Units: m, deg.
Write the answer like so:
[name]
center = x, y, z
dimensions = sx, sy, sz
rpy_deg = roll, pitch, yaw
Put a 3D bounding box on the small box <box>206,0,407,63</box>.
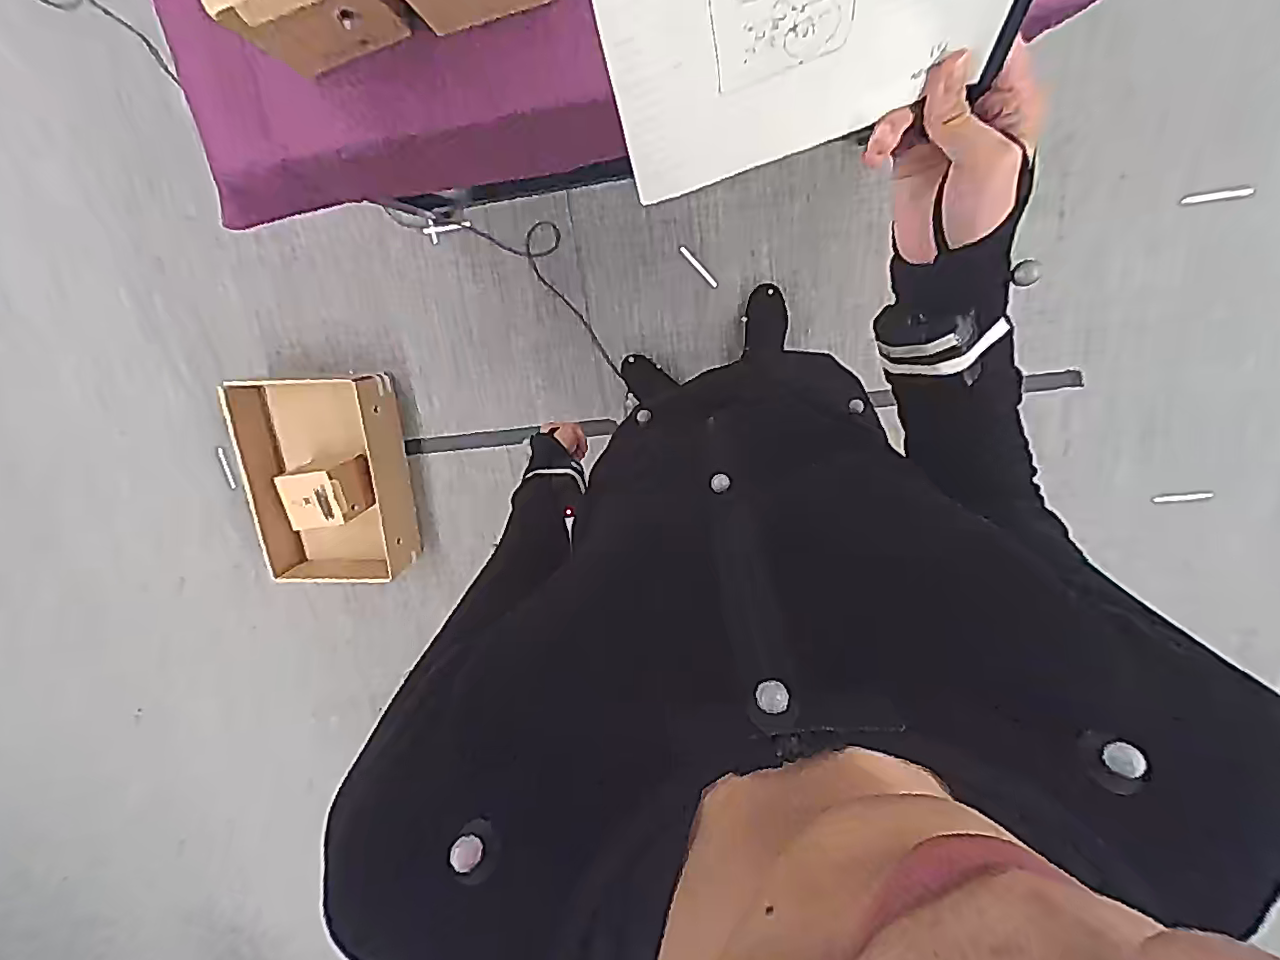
[small box]
center = -0.409, -0.633, 0.636
dimensions = 0.168, 0.176, 0.179
rpy_deg = -14, 106, 8
